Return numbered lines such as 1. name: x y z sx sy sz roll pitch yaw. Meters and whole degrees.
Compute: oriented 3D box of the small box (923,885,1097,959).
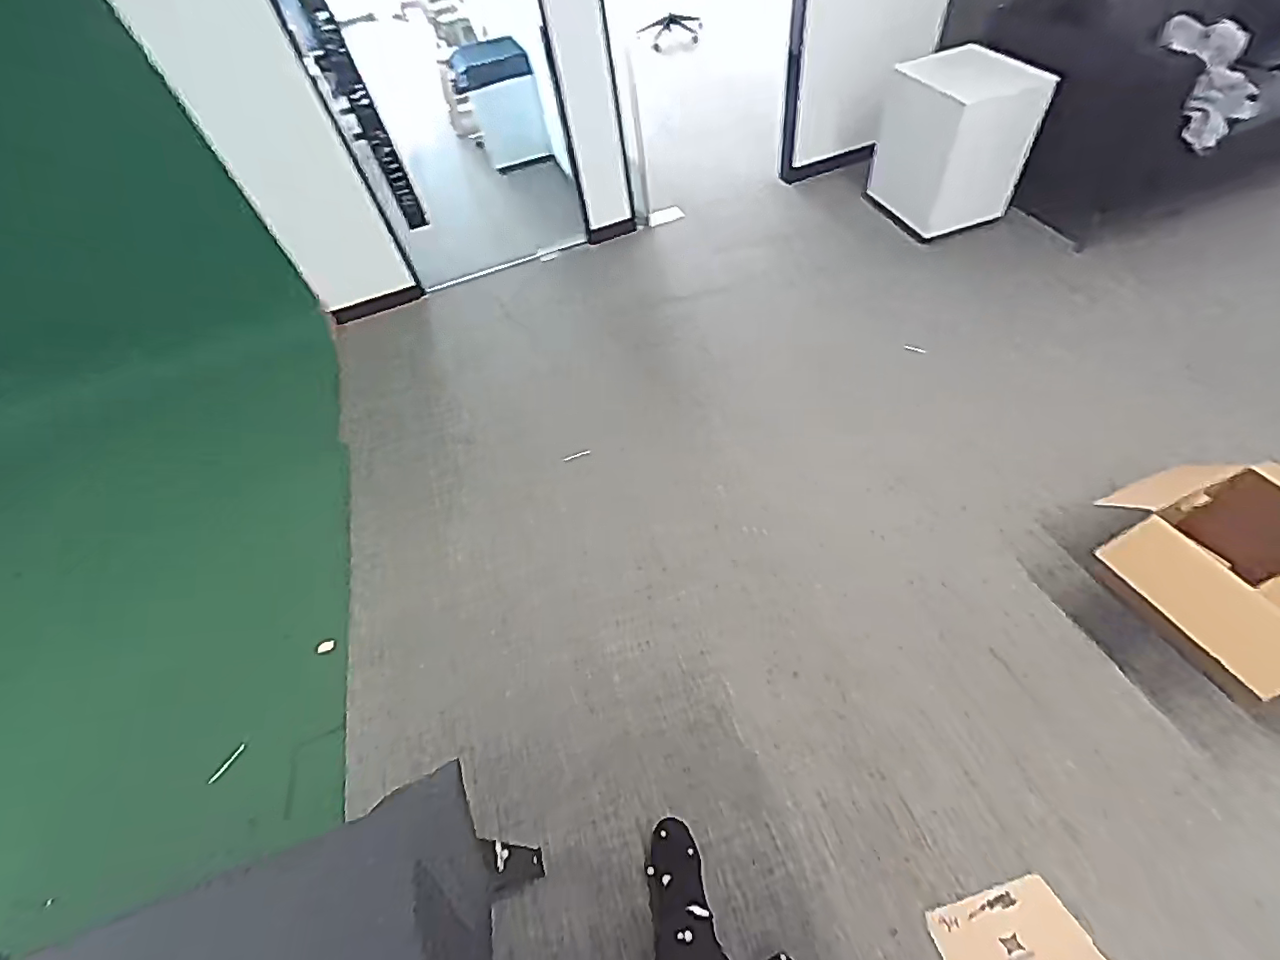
1. small box: 0.484 0.650 0.644 0.168 0.179 0.176 -26 87 7
